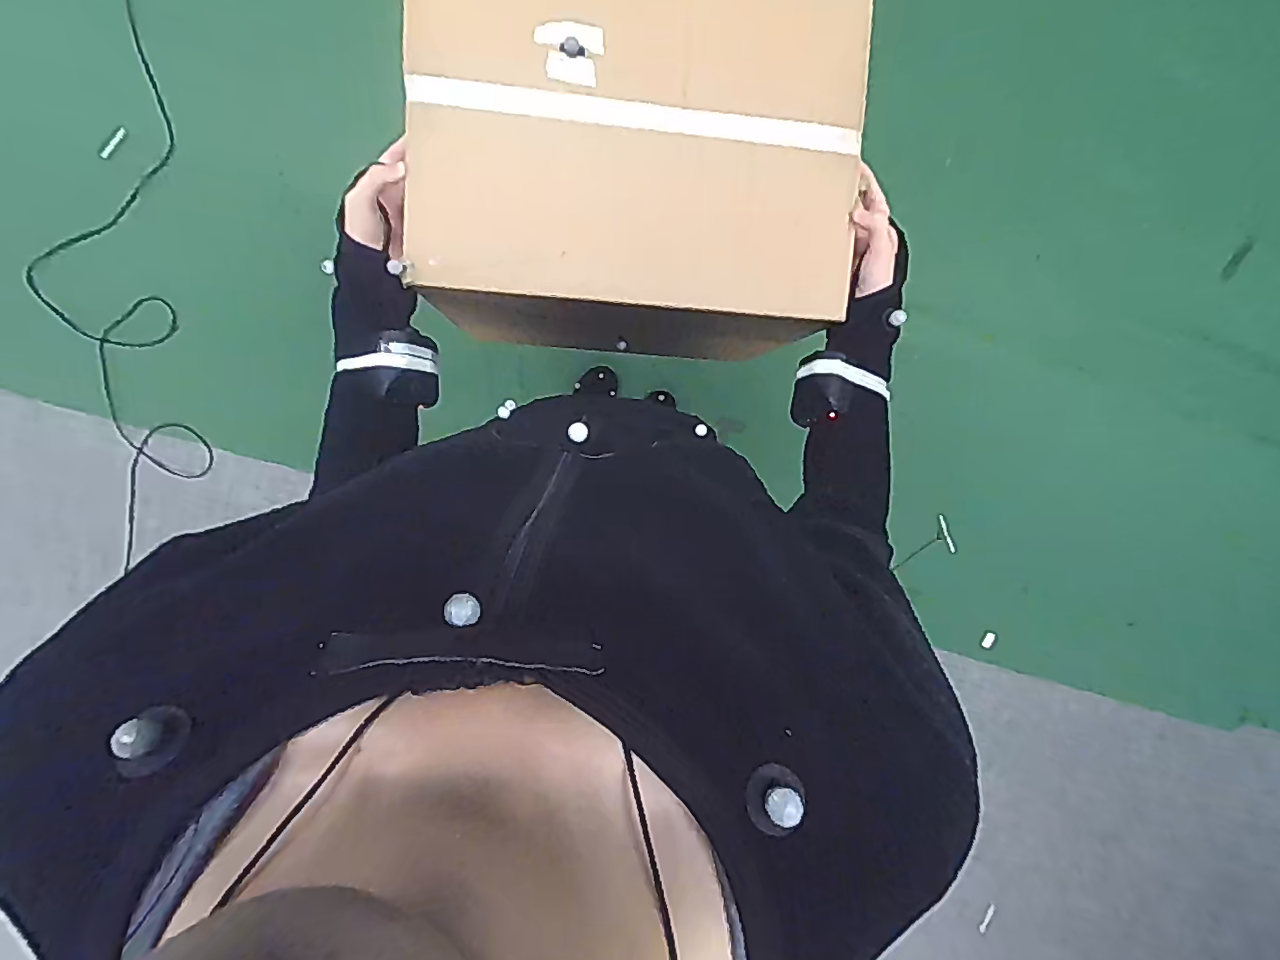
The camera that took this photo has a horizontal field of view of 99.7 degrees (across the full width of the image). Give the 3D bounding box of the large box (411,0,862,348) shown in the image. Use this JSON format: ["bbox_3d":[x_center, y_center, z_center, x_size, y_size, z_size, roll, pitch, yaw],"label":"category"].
[{"bbox_3d":[-0.013,-0.336,0.635,0.408,0.320,0.320,3,95,-6],"label":"large box"}]
